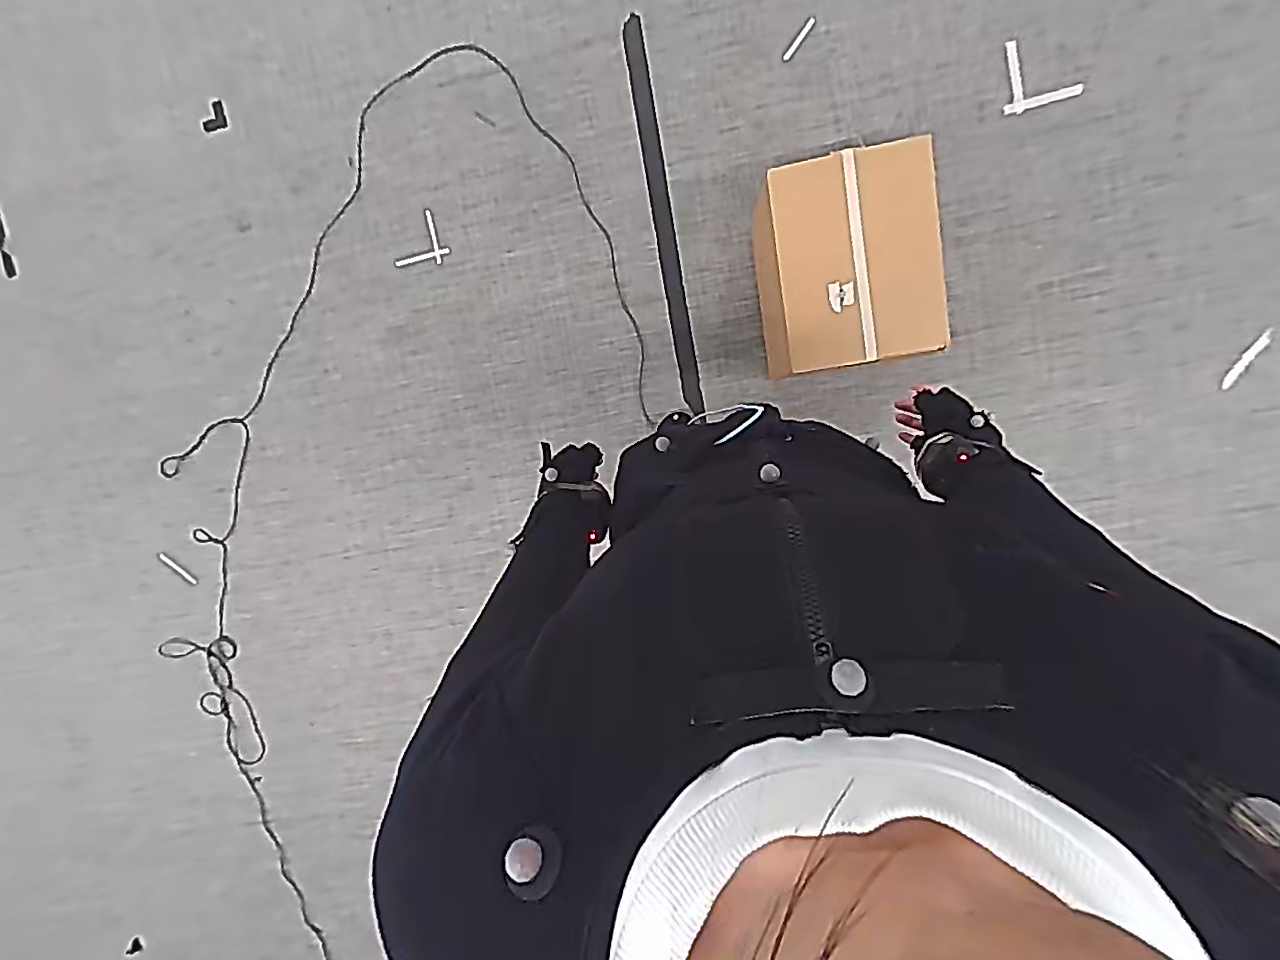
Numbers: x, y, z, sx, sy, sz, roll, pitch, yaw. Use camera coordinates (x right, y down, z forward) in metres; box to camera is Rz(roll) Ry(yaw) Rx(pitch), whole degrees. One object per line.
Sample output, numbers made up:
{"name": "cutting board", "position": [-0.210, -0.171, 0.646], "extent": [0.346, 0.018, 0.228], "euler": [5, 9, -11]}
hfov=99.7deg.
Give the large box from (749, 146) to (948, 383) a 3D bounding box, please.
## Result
{"name": "large box", "position": [0.446, -0.449, 1.225], "extent": [0.320, 0.320, 0.408], "euler": [-9, 97, 7]}
